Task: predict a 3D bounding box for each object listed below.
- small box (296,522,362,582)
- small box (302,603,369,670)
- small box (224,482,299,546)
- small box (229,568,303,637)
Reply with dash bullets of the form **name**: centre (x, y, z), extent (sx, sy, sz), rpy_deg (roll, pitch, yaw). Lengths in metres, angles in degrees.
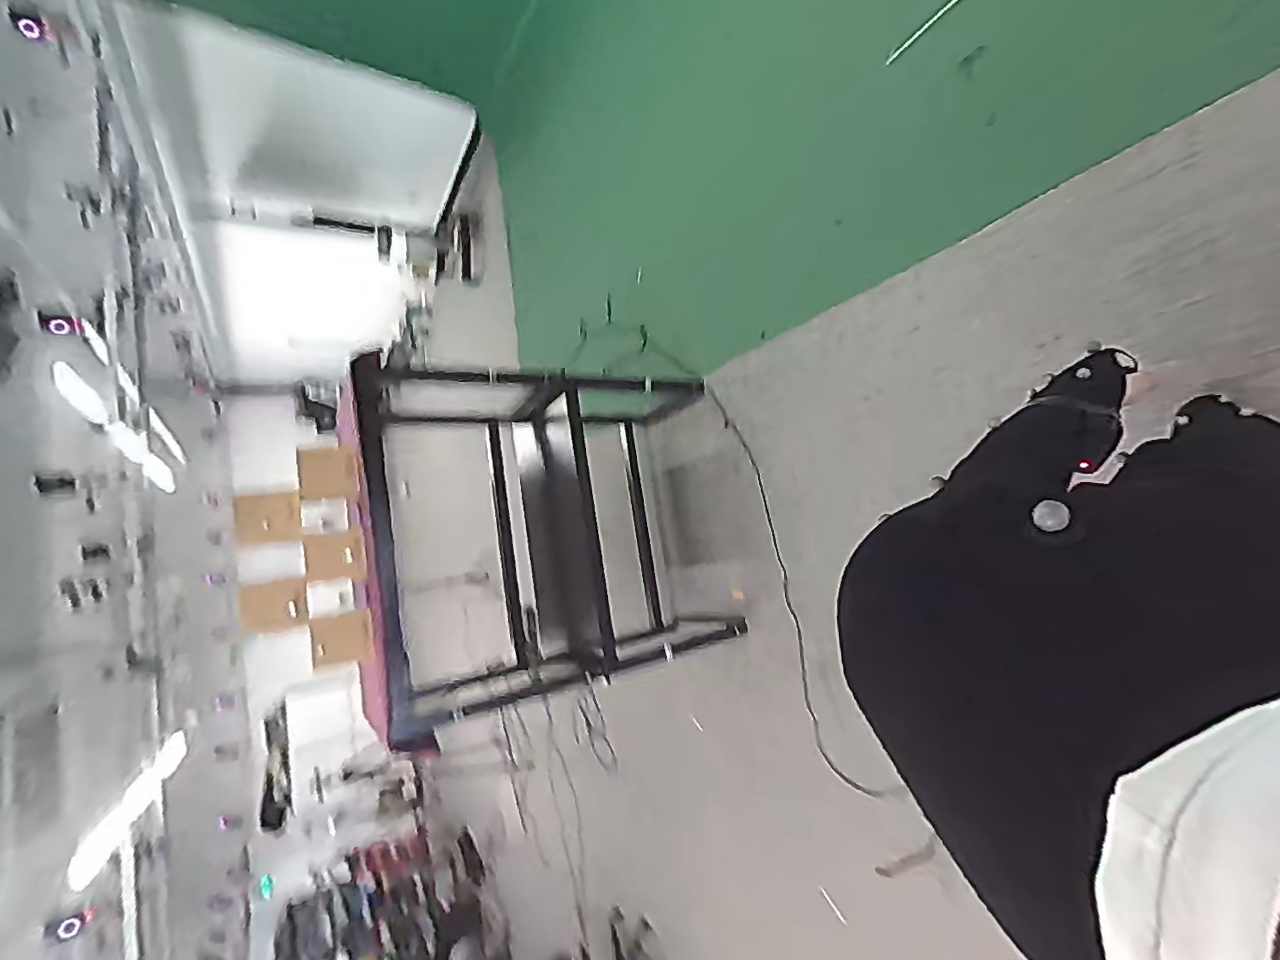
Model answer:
- **small box**: centre (-0.977, 0.228, 1.699), extent (0.179, 0.176, 0.168), rpy_deg (-18, 78, 56)
- **small box**: centre (-0.939, 0.476, 1.665), extent (0.179, 0.176, 0.168), rpy_deg (-21, 76, 57)
- **small box**: centre (-1.131, 0.103, 1.625), extent (0.179, 0.176, 0.168), rpy_deg (-17, 79, 57)
- **small box**: centre (-1.098, 0.357, 1.598), extent (0.179, 0.176, 0.168), rpy_deg (-16, 81, 56)
